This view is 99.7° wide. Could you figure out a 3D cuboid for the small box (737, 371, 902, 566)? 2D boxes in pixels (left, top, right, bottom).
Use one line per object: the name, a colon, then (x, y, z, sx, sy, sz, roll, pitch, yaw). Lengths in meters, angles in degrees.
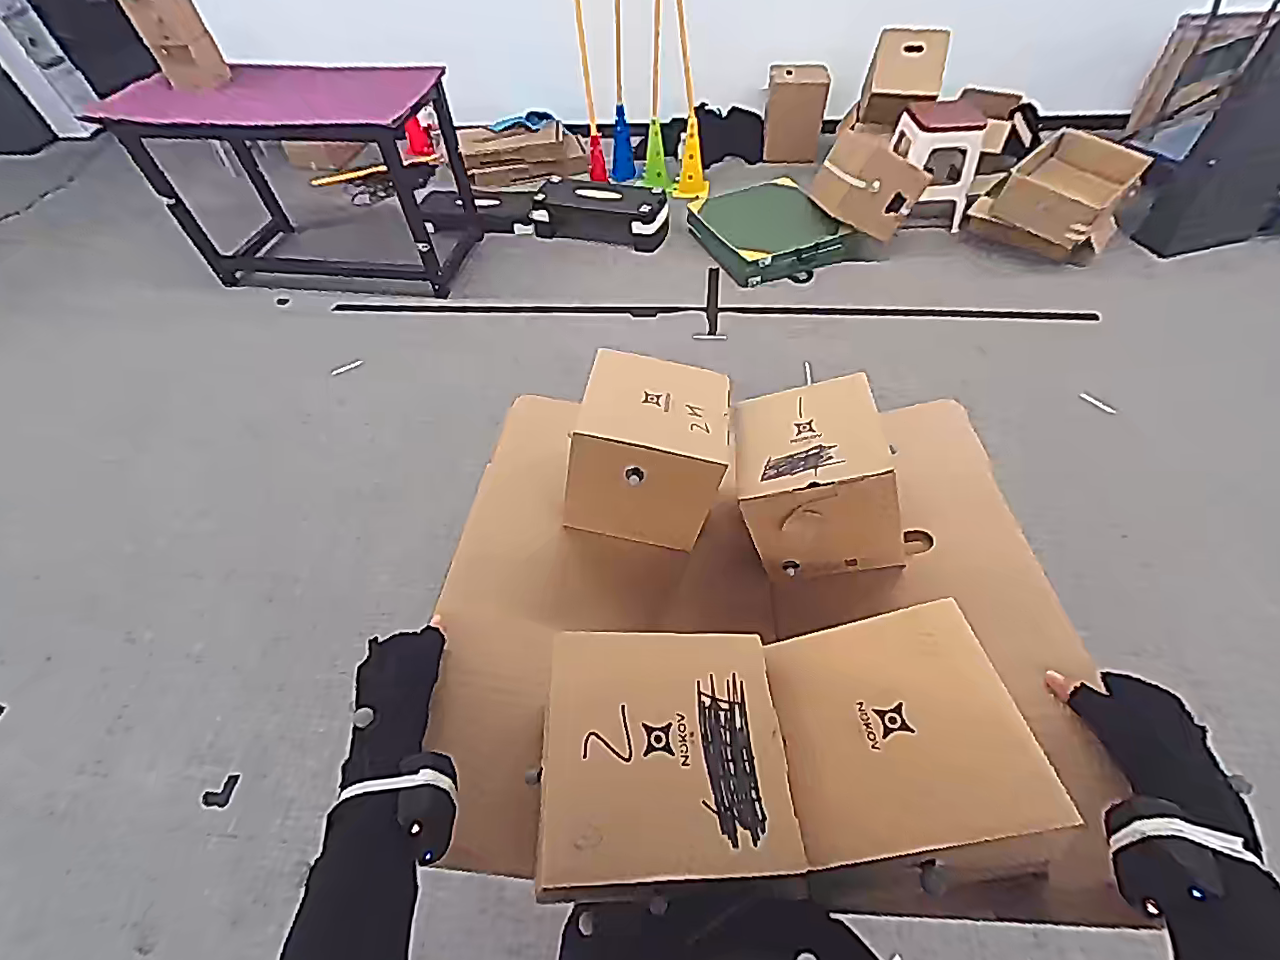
small box: (0.227, -0.004, 0.690, 0.168, 0.176, 0.179, -12, 43, 20)
